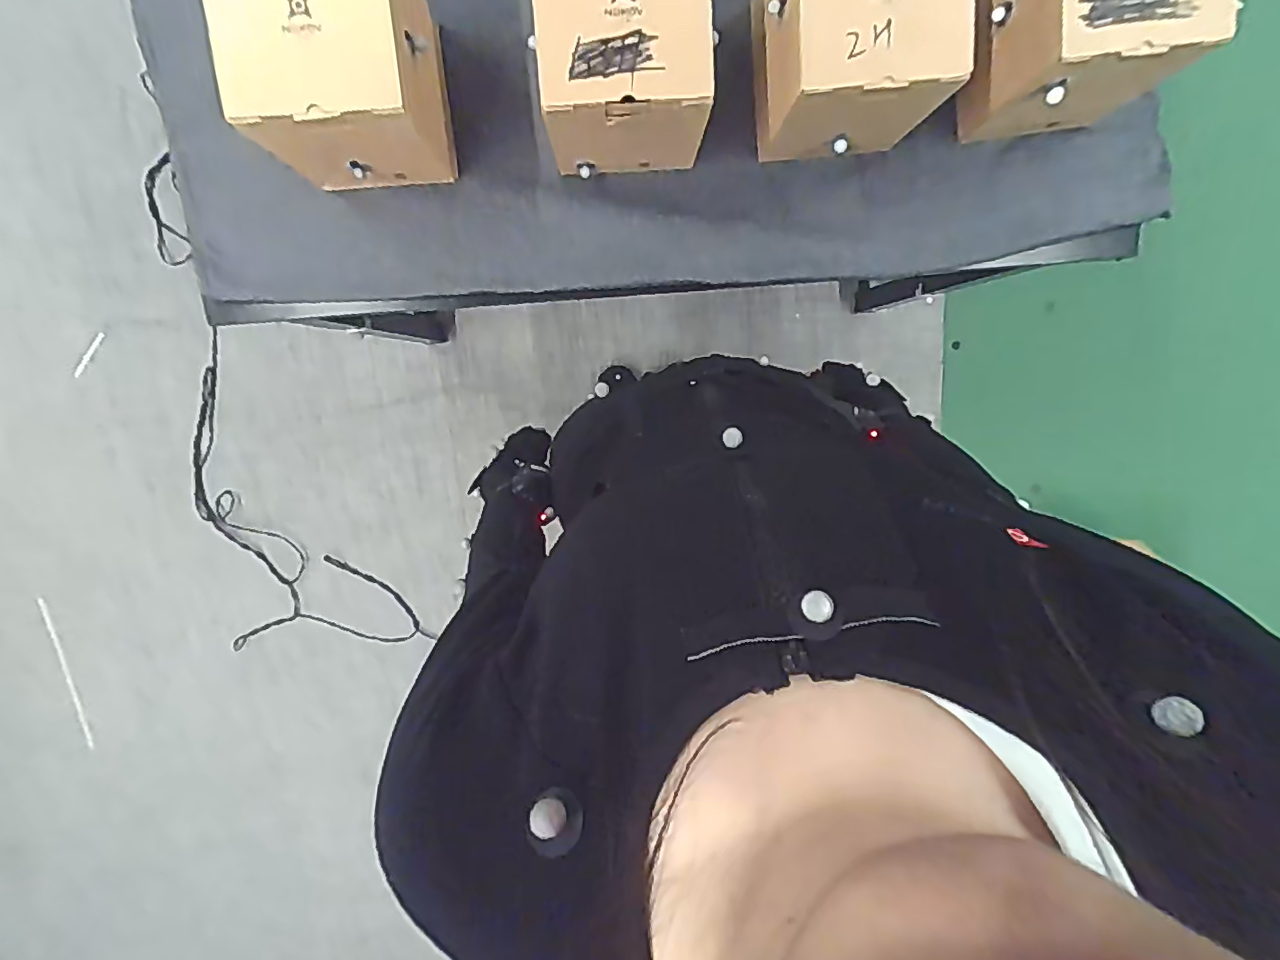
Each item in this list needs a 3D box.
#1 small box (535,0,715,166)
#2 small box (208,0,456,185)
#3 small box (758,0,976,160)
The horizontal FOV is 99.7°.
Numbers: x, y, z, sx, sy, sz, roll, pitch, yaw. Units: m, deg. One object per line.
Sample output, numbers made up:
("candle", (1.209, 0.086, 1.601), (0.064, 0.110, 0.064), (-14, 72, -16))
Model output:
("small box", (-0.016, -0.451, 0.570), (0.168, 0.176, 0.179), (-4, 100, -2))
("small box", (-0.304, -0.434, 0.562), (0.168, 0.176, 0.179), (-5, 100, -2))
("small box", (0.226, -0.473, 0.574), (0.168, 0.176, 0.179), (-5, 101, 0))
